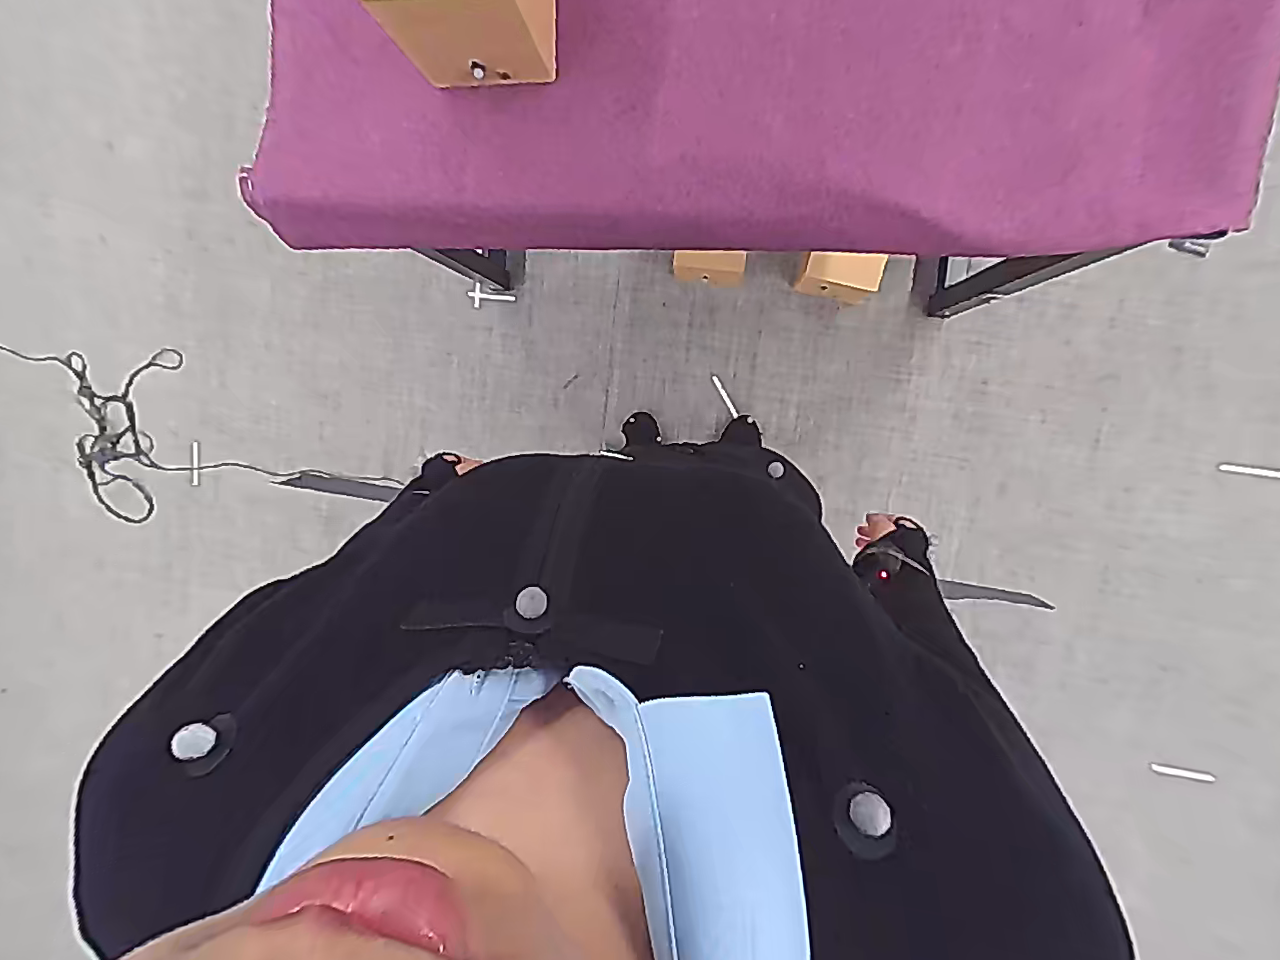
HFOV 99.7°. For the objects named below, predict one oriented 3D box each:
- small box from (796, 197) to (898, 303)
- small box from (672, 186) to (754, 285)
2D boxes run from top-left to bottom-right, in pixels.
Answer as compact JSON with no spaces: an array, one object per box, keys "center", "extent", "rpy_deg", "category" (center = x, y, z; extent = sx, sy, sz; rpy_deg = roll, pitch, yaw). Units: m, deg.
[{"center":[0.479,-0.536,1.284],"extent":[0.168,0.176,0.179],"rpy_deg":[16,99,5],"category":"small box"},{"center":[0.175,-0.584,1.314],"extent":[0.168,0.176,0.179],"rpy_deg":[9,98,5],"category":"small box"}]
